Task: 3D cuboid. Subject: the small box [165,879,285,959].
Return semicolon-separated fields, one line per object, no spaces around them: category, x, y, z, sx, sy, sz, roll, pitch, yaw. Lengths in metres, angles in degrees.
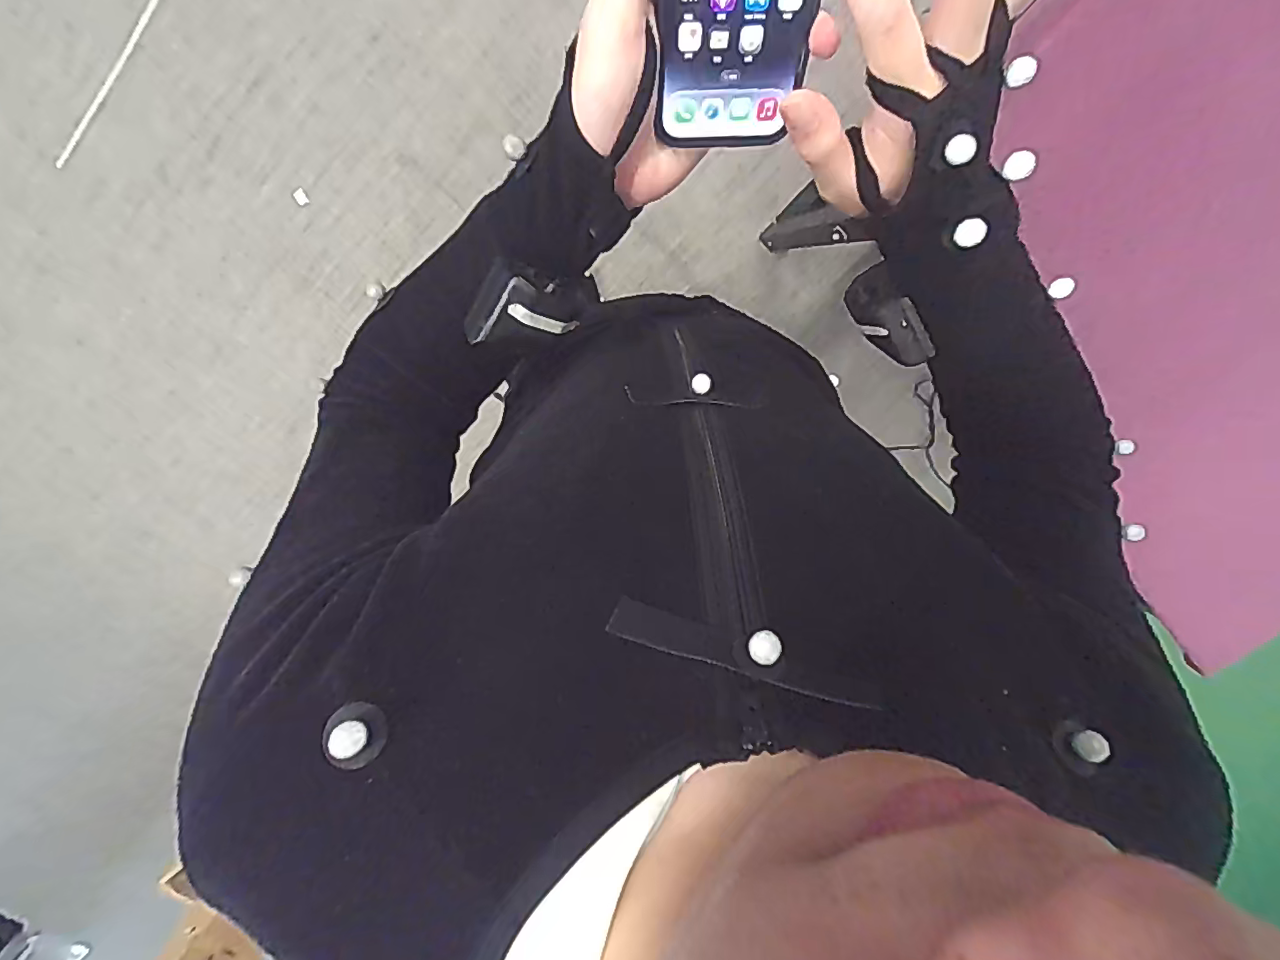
small box;-1.018;1.132;1.326;0.179;0.176;0.168;-37;107;10

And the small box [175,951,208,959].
small box;-1.022;1.184;1.170;0.179;0.176;0.168;-37;108;10
